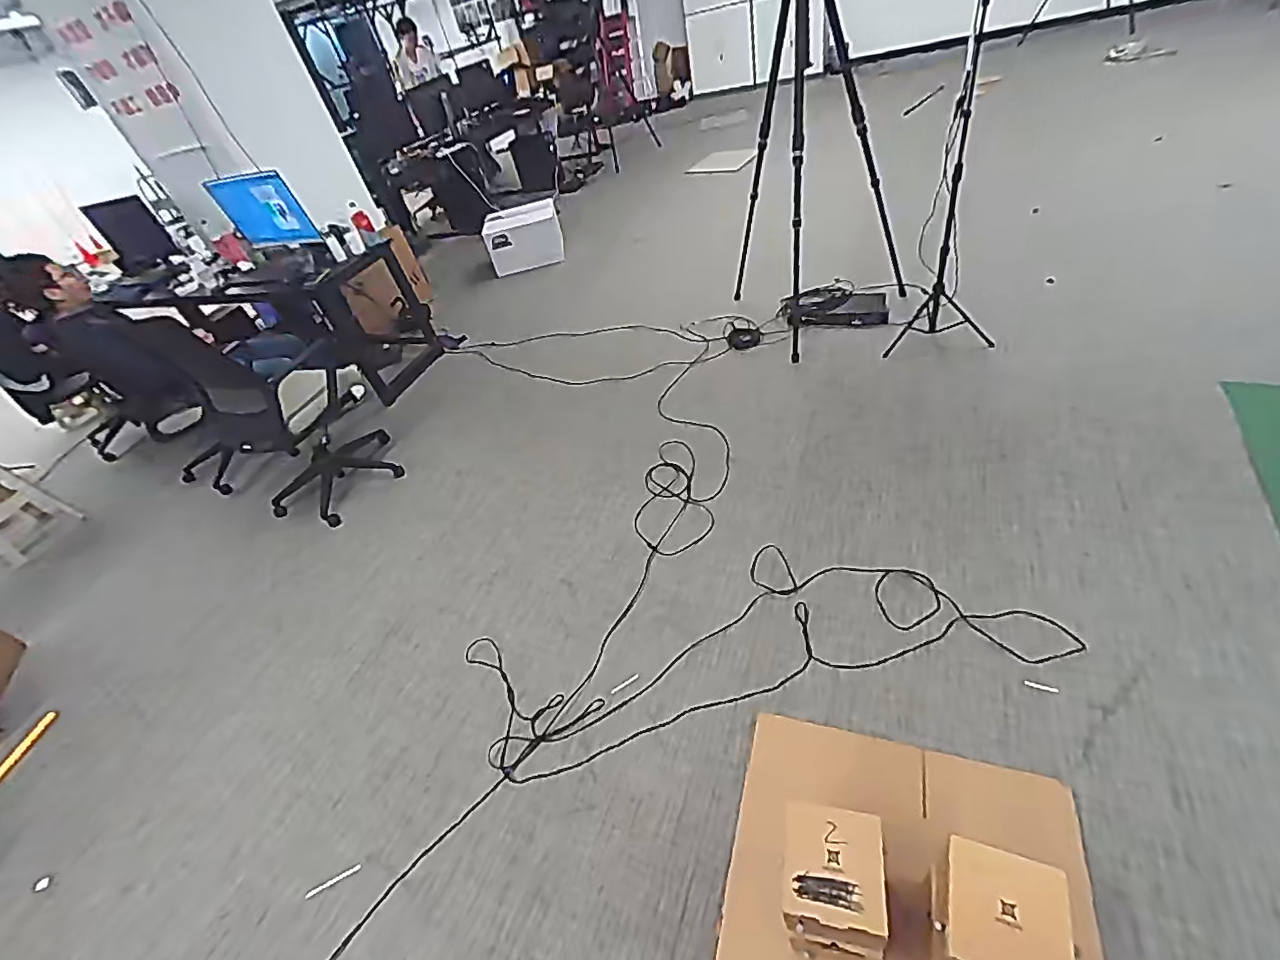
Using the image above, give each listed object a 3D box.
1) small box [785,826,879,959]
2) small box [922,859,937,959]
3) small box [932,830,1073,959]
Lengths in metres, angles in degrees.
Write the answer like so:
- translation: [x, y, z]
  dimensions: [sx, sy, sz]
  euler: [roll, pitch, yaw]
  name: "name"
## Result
- translation: [0.388, 0.836, 1.089]
  dimensions: [0.168, 0.176, 0.179]
  euler: [1, 45, 19]
  name: "small box"
- translation: [0.624, 0.848, 1.003]
  dimensions: [0.168, 0.176, 0.179]
  euler: [3, 46, 23]
  name: "small box"
- translation: [0.591, 0.728, 0.898]
  dimensions: [0.168, 0.176, 0.179]
  euler: [6, 48, 25]
  name: "small box"
